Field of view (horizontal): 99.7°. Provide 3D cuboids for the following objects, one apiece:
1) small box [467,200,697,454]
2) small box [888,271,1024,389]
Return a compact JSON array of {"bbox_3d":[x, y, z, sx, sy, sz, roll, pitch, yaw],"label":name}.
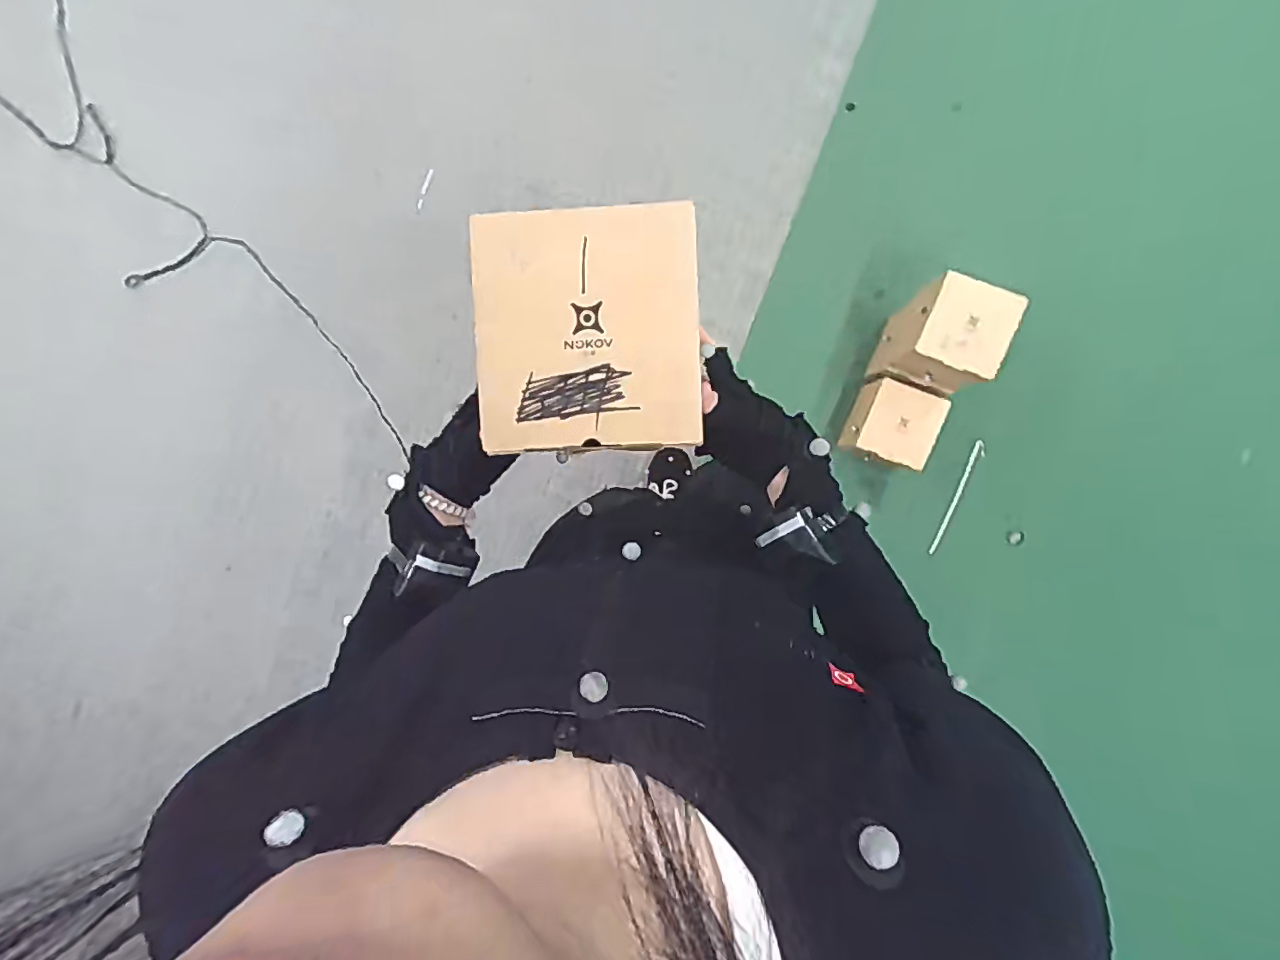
[{"bbox_3d":[-0.037,-0.117,0.477,0.168,0.176,0.179,-3,94,3],"label":"small box"},{"bbox_3d":[0.667,-0.314,1.166,0.168,0.176,0.179,23,95,4],"label":"small box"}]
